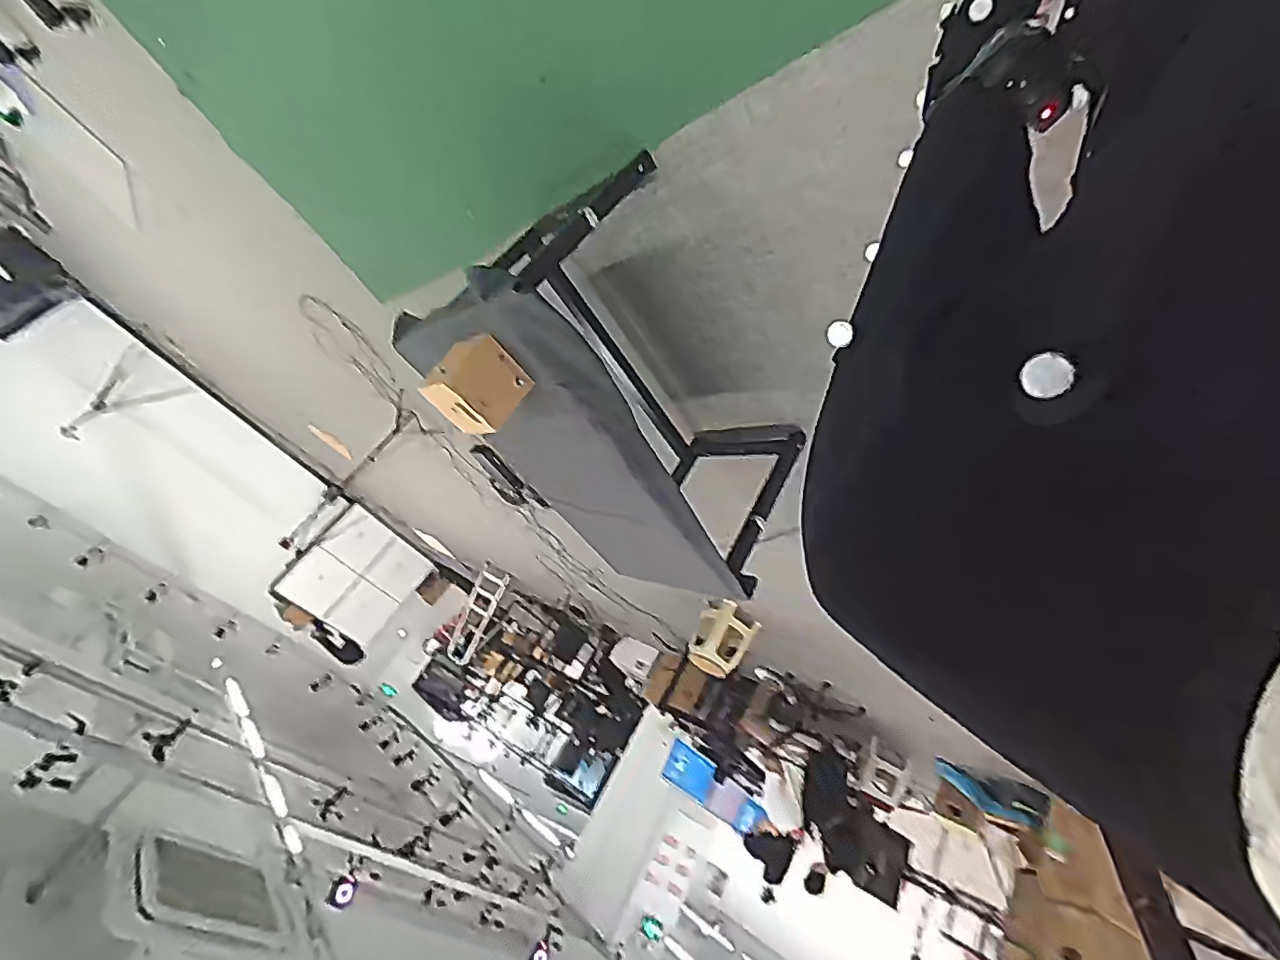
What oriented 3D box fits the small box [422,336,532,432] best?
[{"bbox_3d":[-0.395,-0.237,1.337,0.179,0.176,0.168,4,144,48],"label":"small box"}]
